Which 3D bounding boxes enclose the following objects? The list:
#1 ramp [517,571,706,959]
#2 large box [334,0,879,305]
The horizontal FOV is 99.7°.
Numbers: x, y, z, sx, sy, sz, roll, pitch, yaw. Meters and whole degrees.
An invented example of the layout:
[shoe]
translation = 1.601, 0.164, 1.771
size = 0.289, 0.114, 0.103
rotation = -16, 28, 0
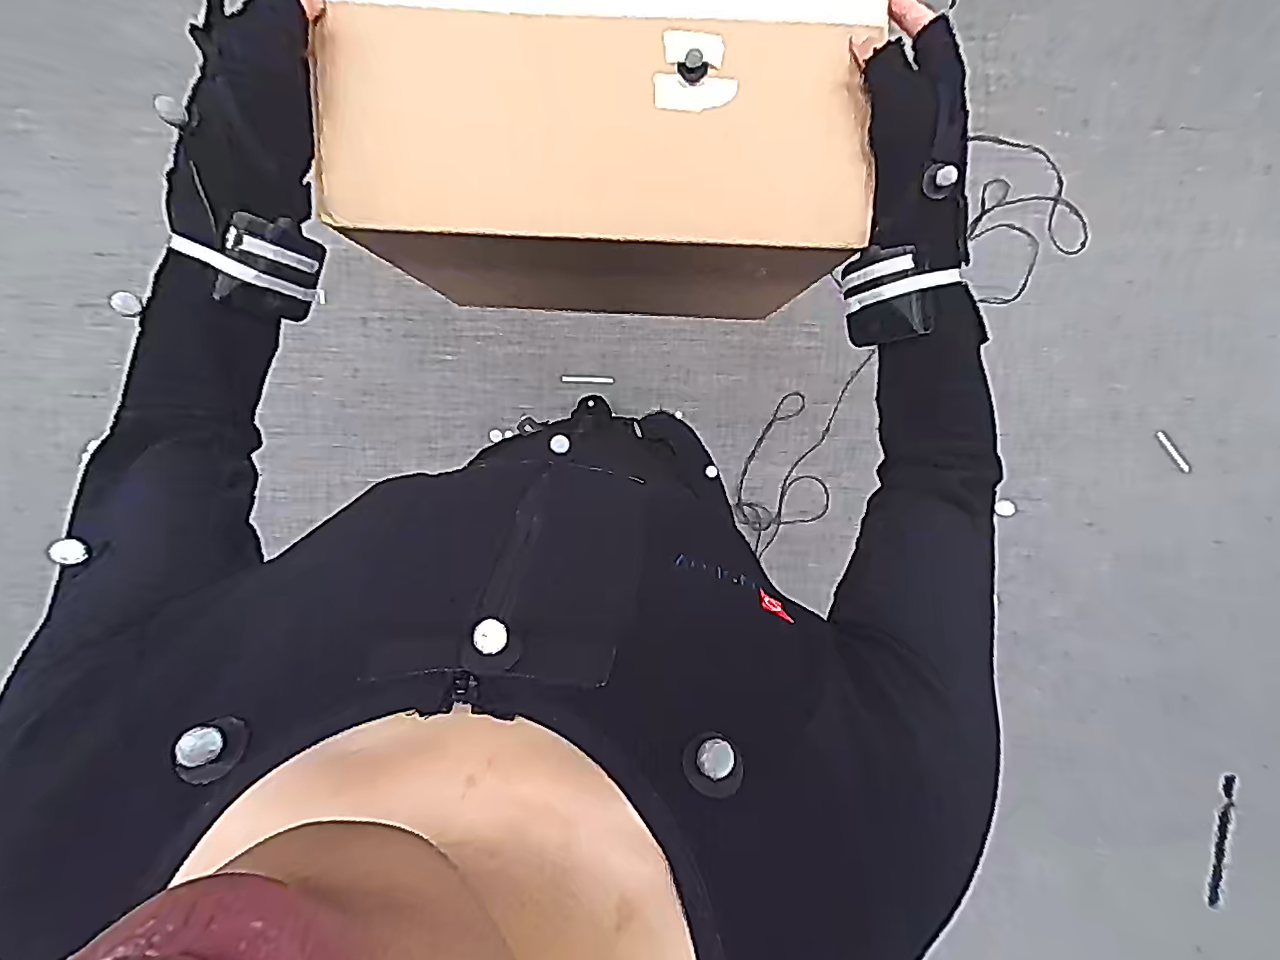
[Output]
[ramp]
translation = -0.071, 0.750, 1.444
size = 0.509, 0.206, 0.991
rotation = -1, 94, 1
[large box]
translation = -0.027, -0.365, 0.541
size = 0.408, 0.320, 0.320
rotation = 2, 98, -2
